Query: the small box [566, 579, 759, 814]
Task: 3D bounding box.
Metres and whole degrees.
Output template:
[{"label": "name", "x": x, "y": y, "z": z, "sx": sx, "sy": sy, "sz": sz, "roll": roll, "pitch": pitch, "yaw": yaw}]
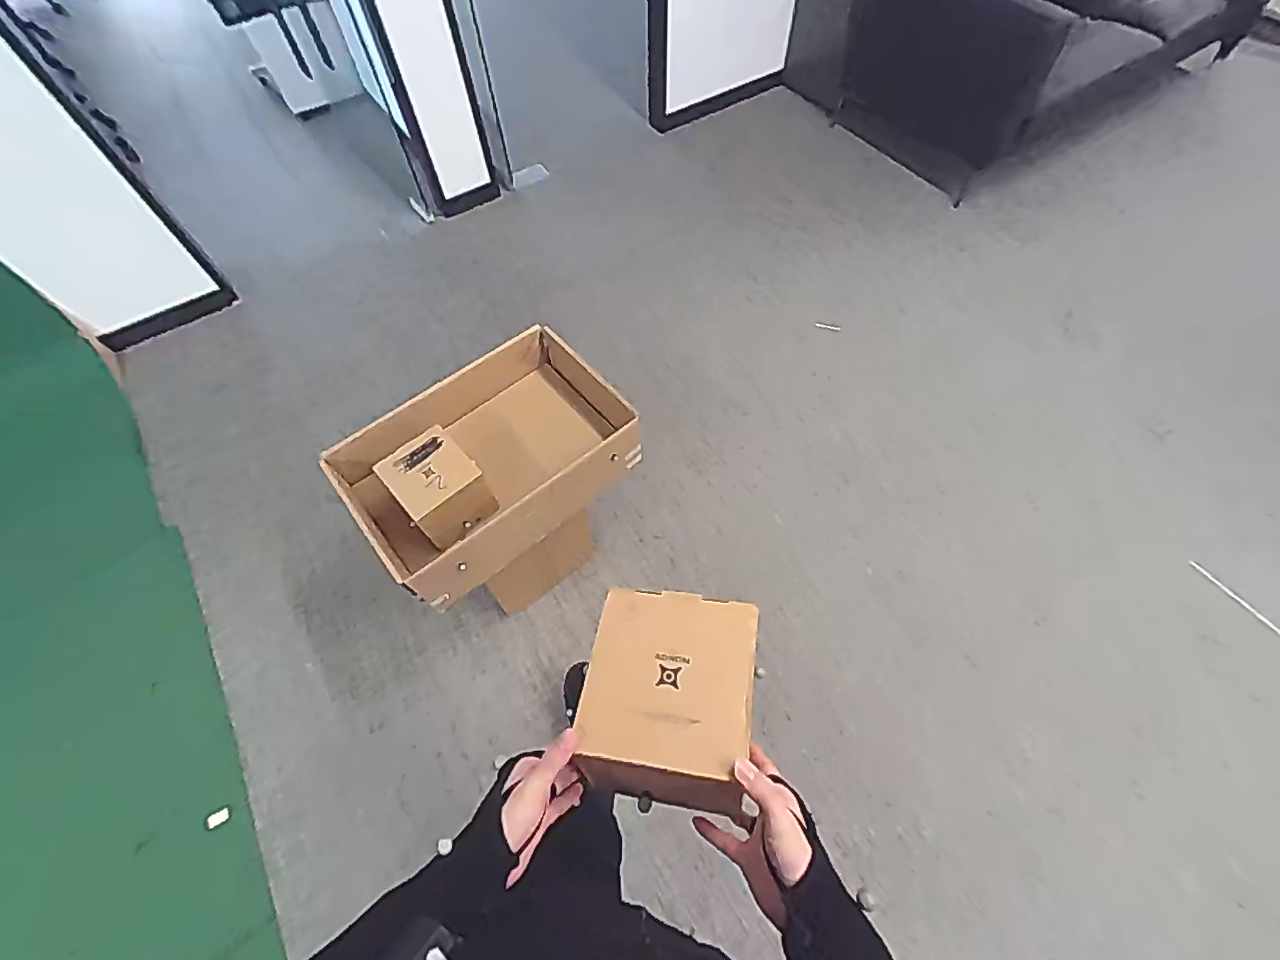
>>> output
[{"label": "small box", "x": 0.034, "y": 0.234, "z": 0.587, "sx": 0.168, "sy": 0.176, "sz": 0.179, "roll": 6, "pitch": 50, "yaw": 11}]
